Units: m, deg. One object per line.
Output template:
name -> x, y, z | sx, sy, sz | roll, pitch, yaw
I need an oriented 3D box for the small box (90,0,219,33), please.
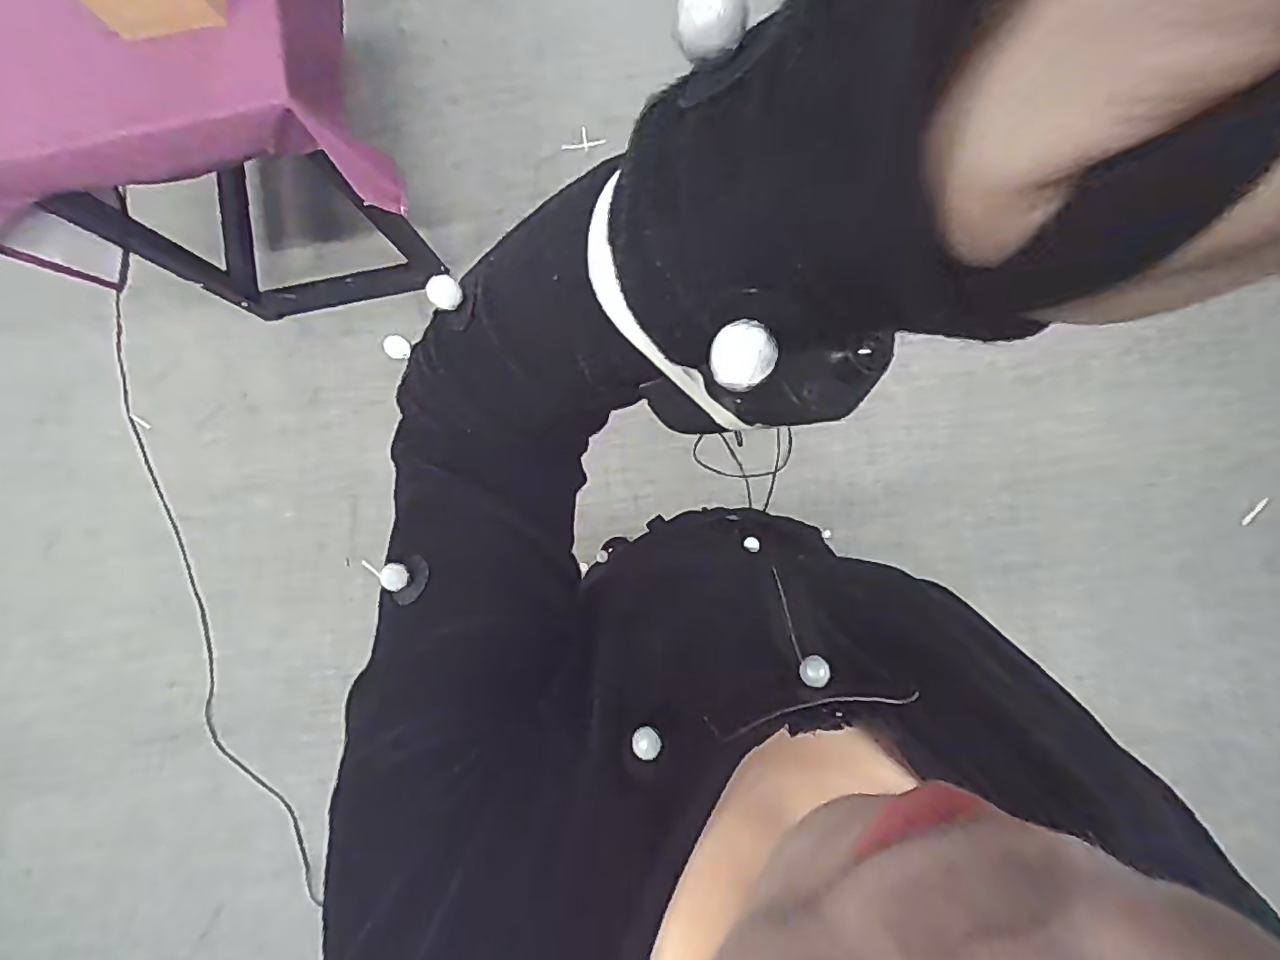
small box -> -0.769, -0.824, 0.808 | 0.179, 0.176, 0.168 | -7, 85, 3
